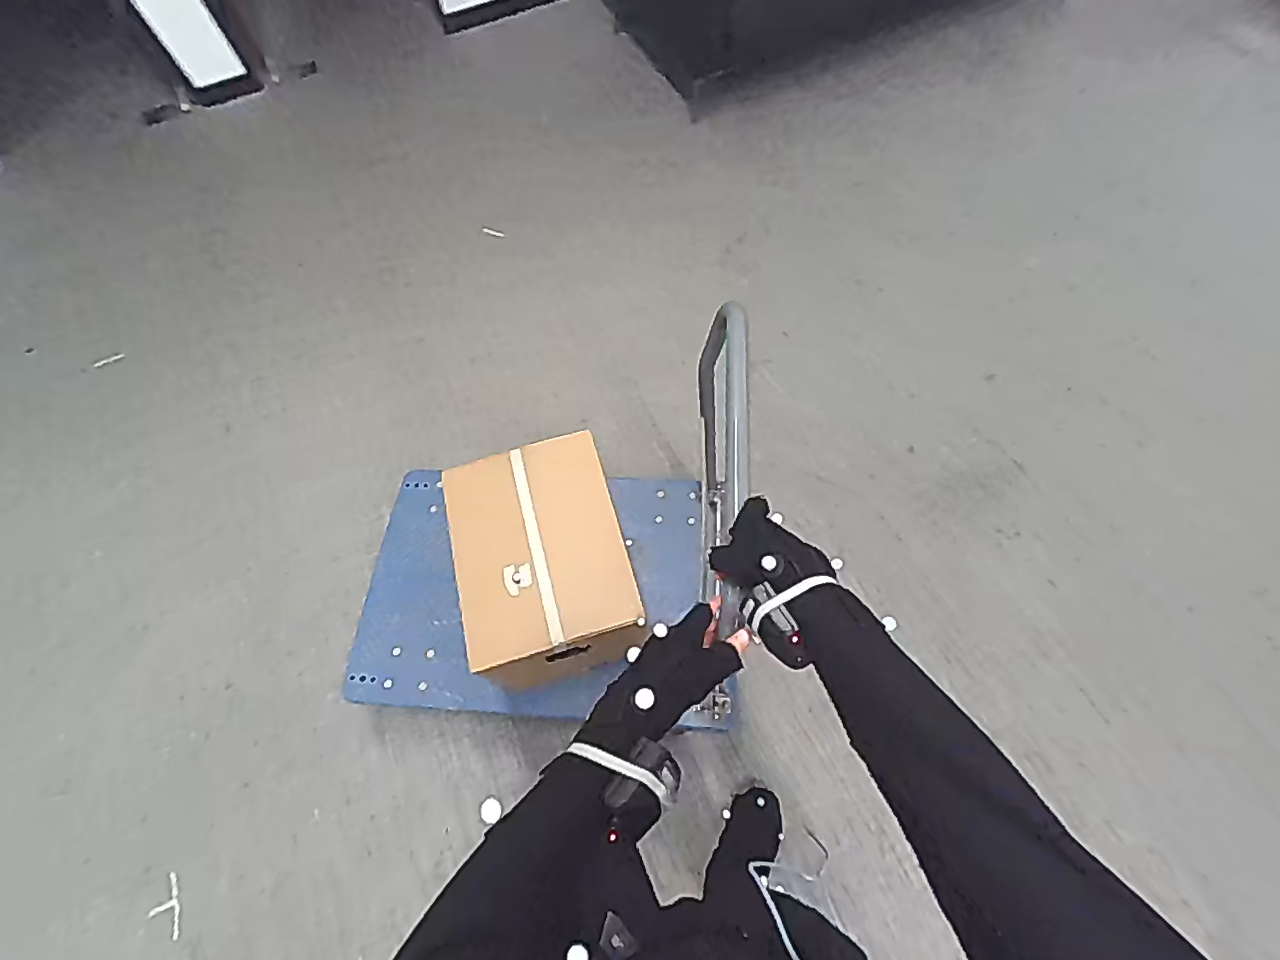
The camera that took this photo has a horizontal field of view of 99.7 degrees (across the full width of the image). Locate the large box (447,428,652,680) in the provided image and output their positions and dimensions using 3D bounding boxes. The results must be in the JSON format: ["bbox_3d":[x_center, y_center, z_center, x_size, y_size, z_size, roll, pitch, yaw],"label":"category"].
[{"bbox_3d":[-0.179,0.165,1.148,0.320,0.320,0.408,-16,65,-4],"label":"large box"}]
